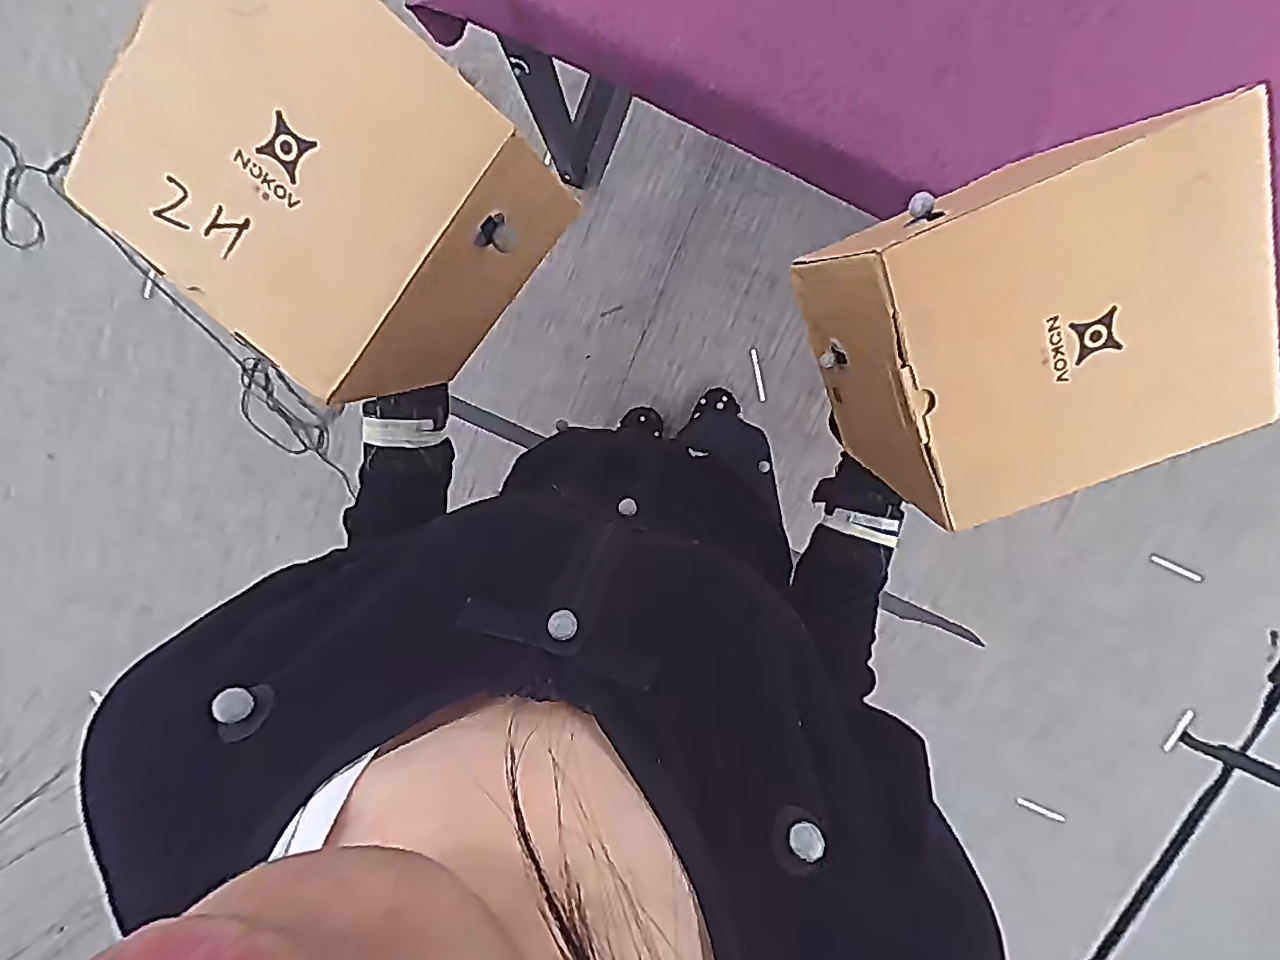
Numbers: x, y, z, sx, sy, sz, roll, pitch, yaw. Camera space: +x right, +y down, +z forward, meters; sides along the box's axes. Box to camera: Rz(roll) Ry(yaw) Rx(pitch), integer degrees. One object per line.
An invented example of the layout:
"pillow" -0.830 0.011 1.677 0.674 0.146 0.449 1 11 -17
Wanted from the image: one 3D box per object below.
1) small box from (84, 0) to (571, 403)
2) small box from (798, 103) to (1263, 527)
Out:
"small box" -0.161 -0.176 0.341 0.168 0.176 0.179 41 105 -7
"small box" 0.228 -0.100 0.355 0.179 0.176 0.168 -22 108 8
